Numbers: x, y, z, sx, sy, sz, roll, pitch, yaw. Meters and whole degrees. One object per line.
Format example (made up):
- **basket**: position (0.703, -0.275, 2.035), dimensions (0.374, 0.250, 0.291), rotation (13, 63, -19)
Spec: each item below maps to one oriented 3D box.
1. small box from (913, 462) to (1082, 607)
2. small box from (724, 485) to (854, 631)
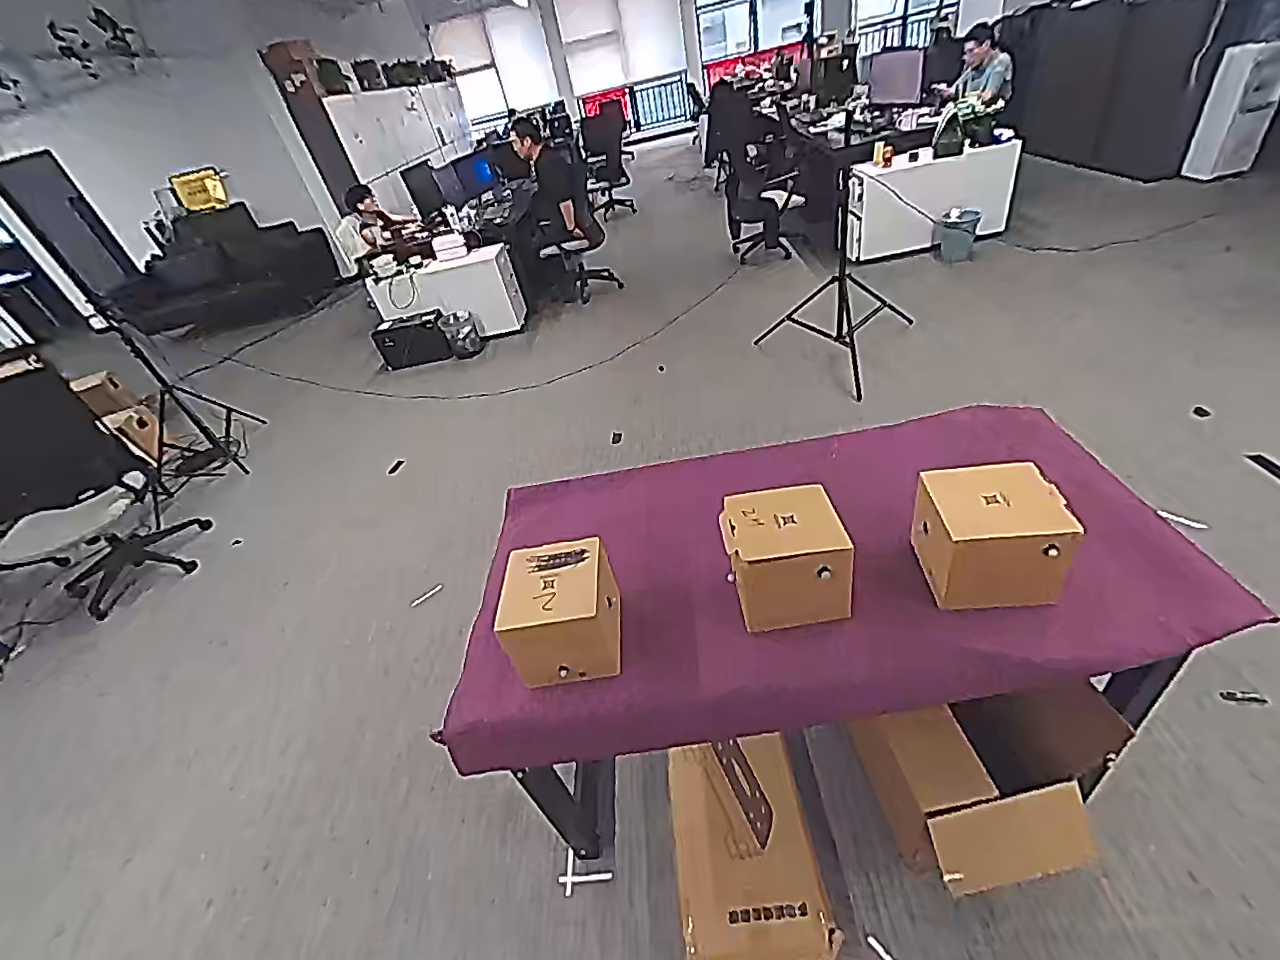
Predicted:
- **small box**: position (0.562, 0.092, 0.883), dimensions (0.179, 0.176, 0.168), rotation (-6, 38, 11)
- **small box**: position (0.250, 0.135, 0.930), dimensions (0.179, 0.176, 0.168), rotation (-11, 35, 5)
